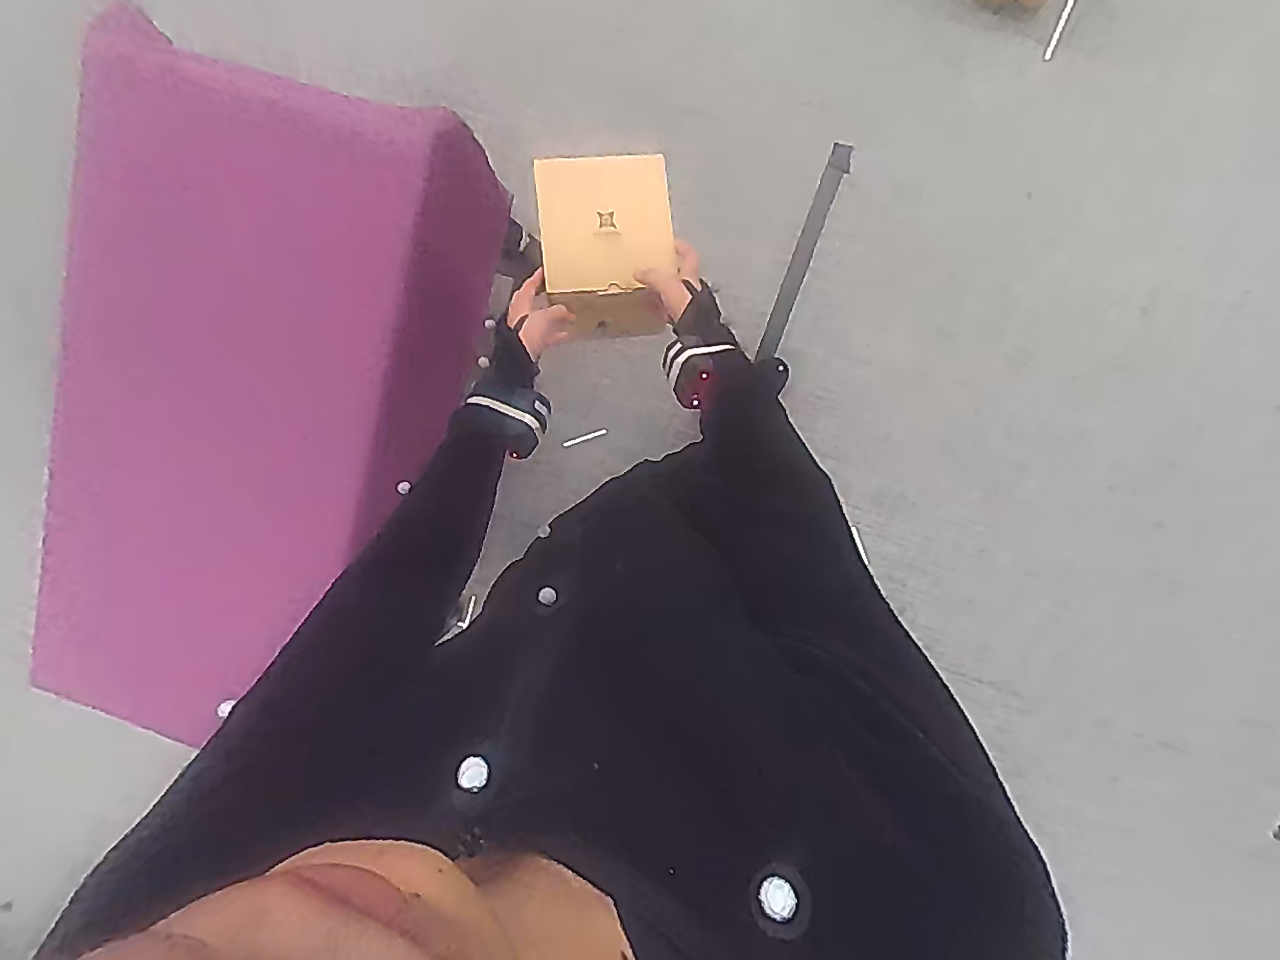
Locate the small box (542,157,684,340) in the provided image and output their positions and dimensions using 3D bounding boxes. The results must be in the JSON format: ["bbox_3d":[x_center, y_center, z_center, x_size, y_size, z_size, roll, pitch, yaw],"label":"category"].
[{"bbox_3d":[-0.042,-0.309,0.746,0.168,0.176,0.179,-6,87,-6],"label":"small box"}]

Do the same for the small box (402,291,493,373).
[{"bbox_3d":[-0.538,-0.413,1.534,0.168,0.176,0.179,20,102,5],"label":"small box"}]

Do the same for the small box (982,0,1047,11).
[{"bbox_3d":[0.885,-1.206,1.199,0.168,0.176,0.179,16,102,5],"label":"small box"}]
